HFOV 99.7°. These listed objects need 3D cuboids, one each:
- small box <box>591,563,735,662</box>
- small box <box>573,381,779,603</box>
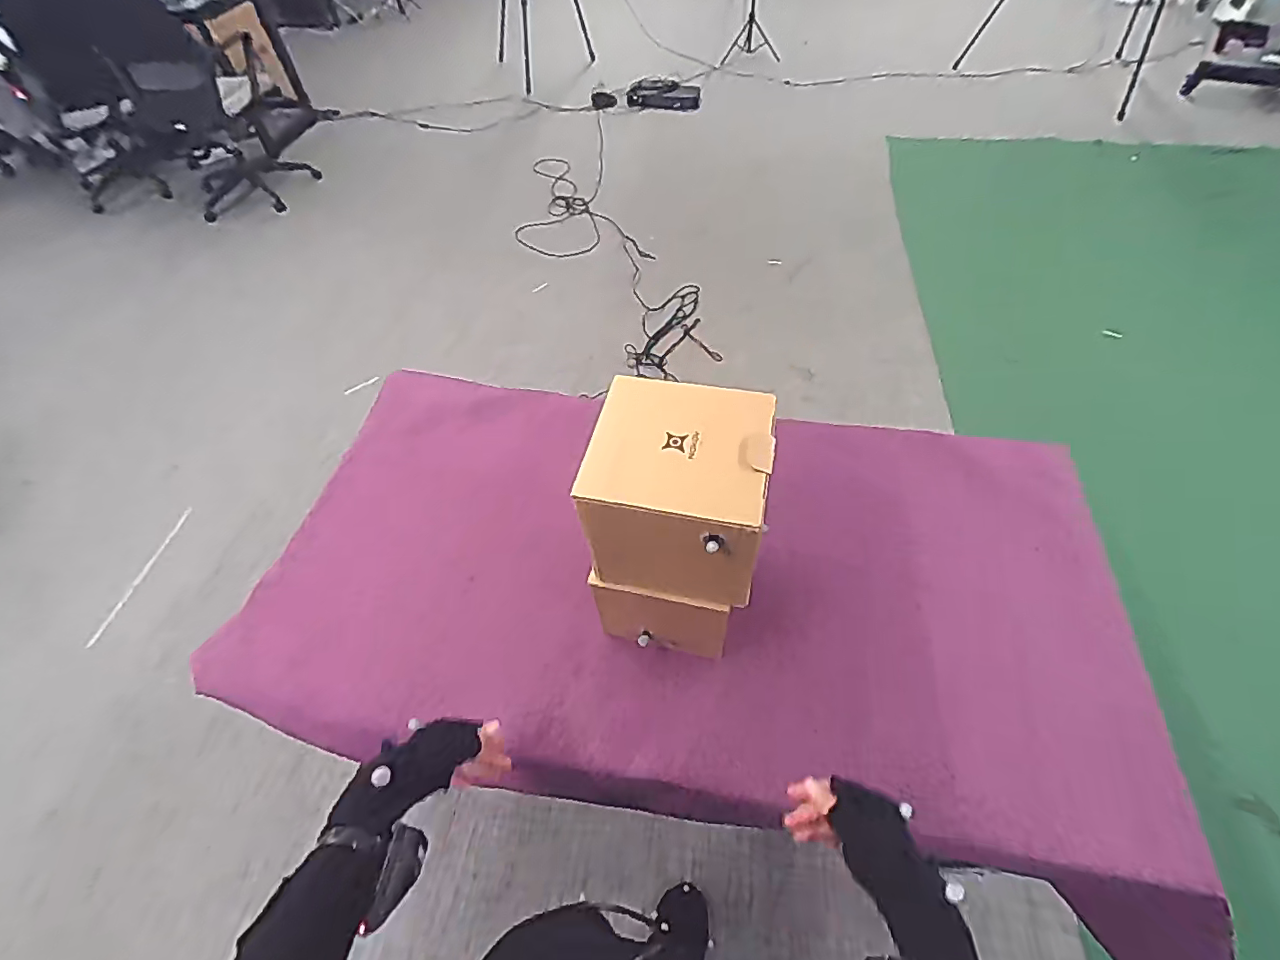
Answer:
[{"bbox_3d":[0.046,0.114,0.711,0.168,0.176,0.179,10,55,11],"label":"small box"},{"bbox_3d":[0.046,0.016,0.581,0.179,0.176,0.168,8,54,10],"label":"small box"}]
